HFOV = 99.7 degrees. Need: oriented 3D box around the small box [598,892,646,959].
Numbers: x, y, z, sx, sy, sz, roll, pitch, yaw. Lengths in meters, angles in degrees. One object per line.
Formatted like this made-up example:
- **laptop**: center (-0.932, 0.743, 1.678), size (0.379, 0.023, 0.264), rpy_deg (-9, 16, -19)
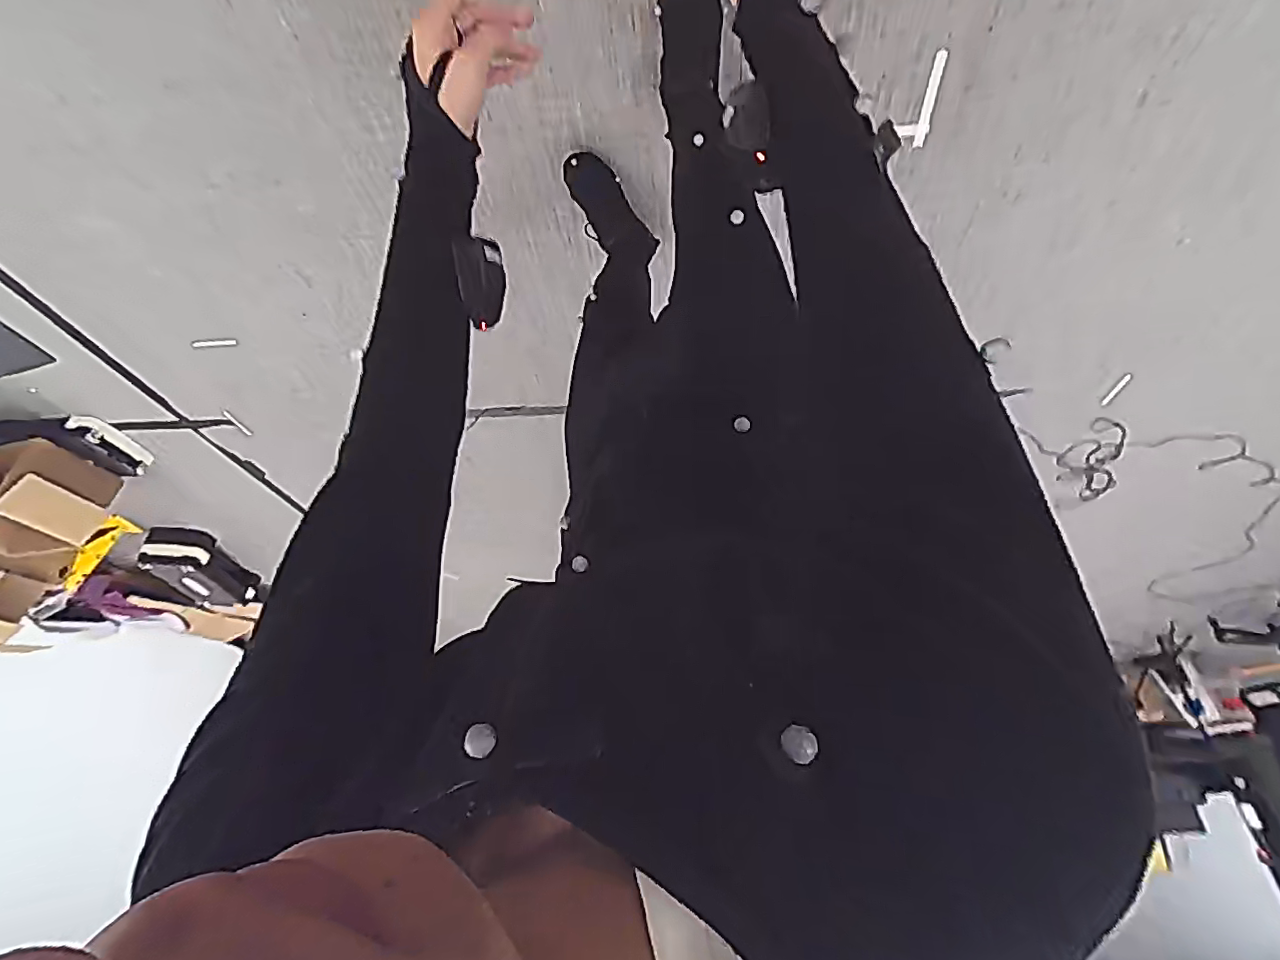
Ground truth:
- **small box**: center (-0.062, 1.624, 1.981), size (0.168, 0.176, 0.179), rpy_deg (-1, 148, 2)
